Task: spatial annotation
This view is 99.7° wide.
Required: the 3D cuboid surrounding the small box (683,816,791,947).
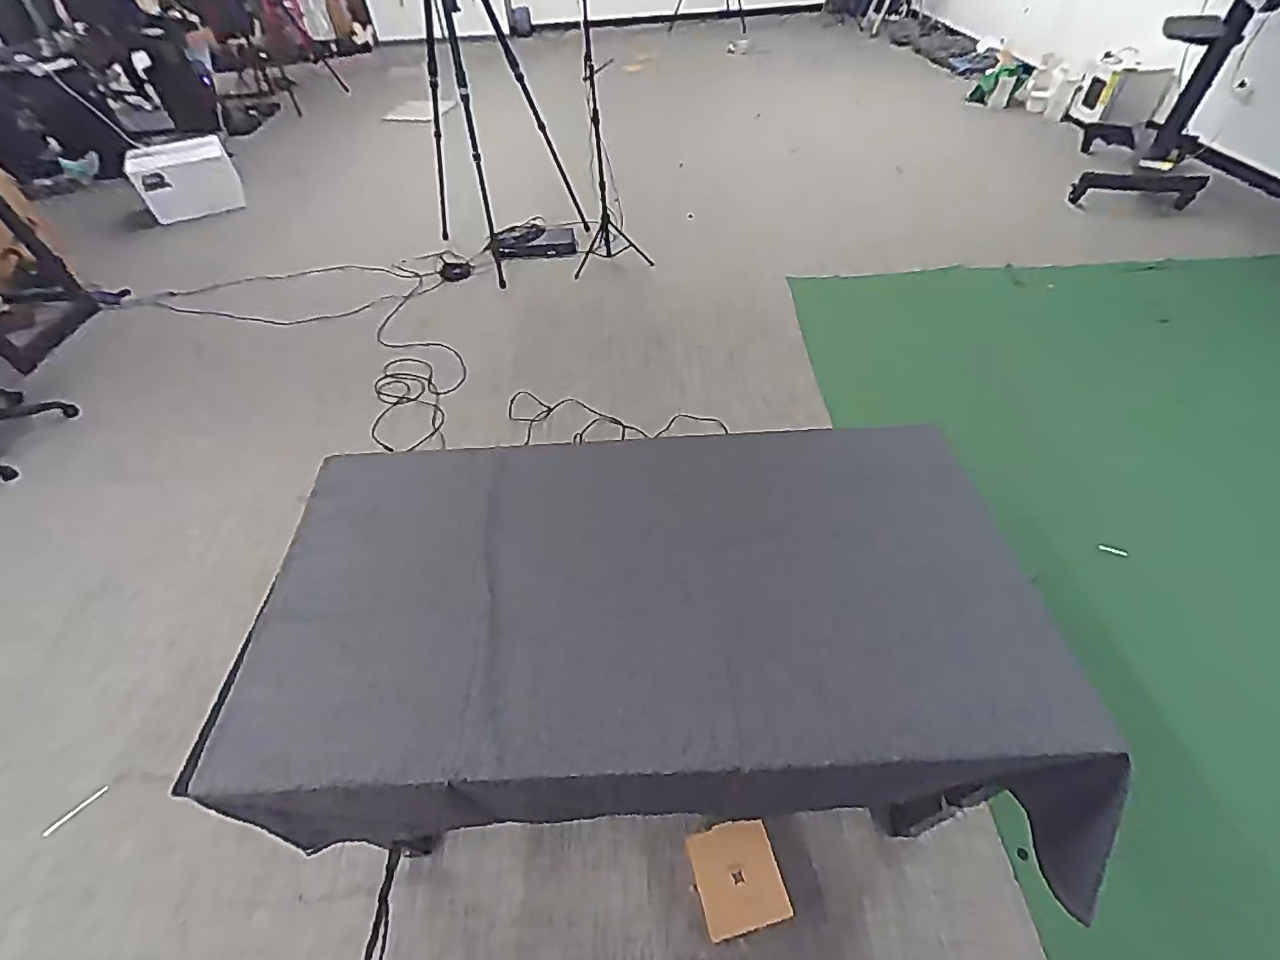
[{"bbox_3d":[0.189,0.833,1.120,0.168,0.176,0.179,-12,48,-7],"label":"small box"}]
